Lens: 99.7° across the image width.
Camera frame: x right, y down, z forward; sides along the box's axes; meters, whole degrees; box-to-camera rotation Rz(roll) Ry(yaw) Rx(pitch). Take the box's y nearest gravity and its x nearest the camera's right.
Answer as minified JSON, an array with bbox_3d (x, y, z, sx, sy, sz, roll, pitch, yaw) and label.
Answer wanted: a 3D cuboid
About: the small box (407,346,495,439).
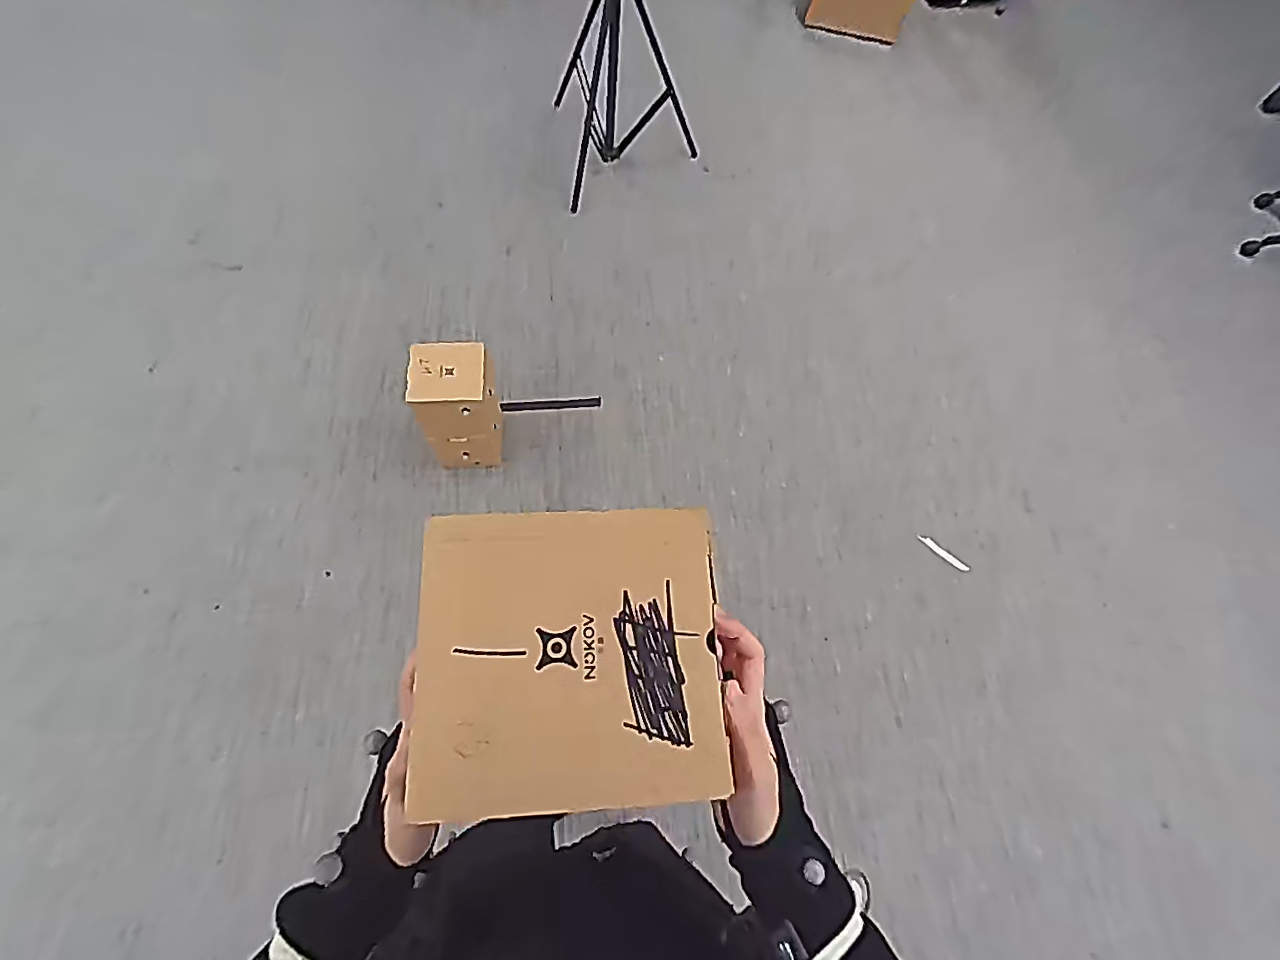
[{"bbox_3d":[-0.459,-0.213,1.342,0.179,0.176,0.168,-3,65,-7],"label":"small box"}]

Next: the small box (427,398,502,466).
[{"bbox_3d":[-0.476,-0.143,1.492,0.168,0.176,0.179,-2,67,-7],"label":"small box"}]

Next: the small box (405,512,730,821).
[{"bbox_3d":[-0.047,0.123,0.387,0.179,0.176,0.168,-1,71,-6],"label":"small box"}]
